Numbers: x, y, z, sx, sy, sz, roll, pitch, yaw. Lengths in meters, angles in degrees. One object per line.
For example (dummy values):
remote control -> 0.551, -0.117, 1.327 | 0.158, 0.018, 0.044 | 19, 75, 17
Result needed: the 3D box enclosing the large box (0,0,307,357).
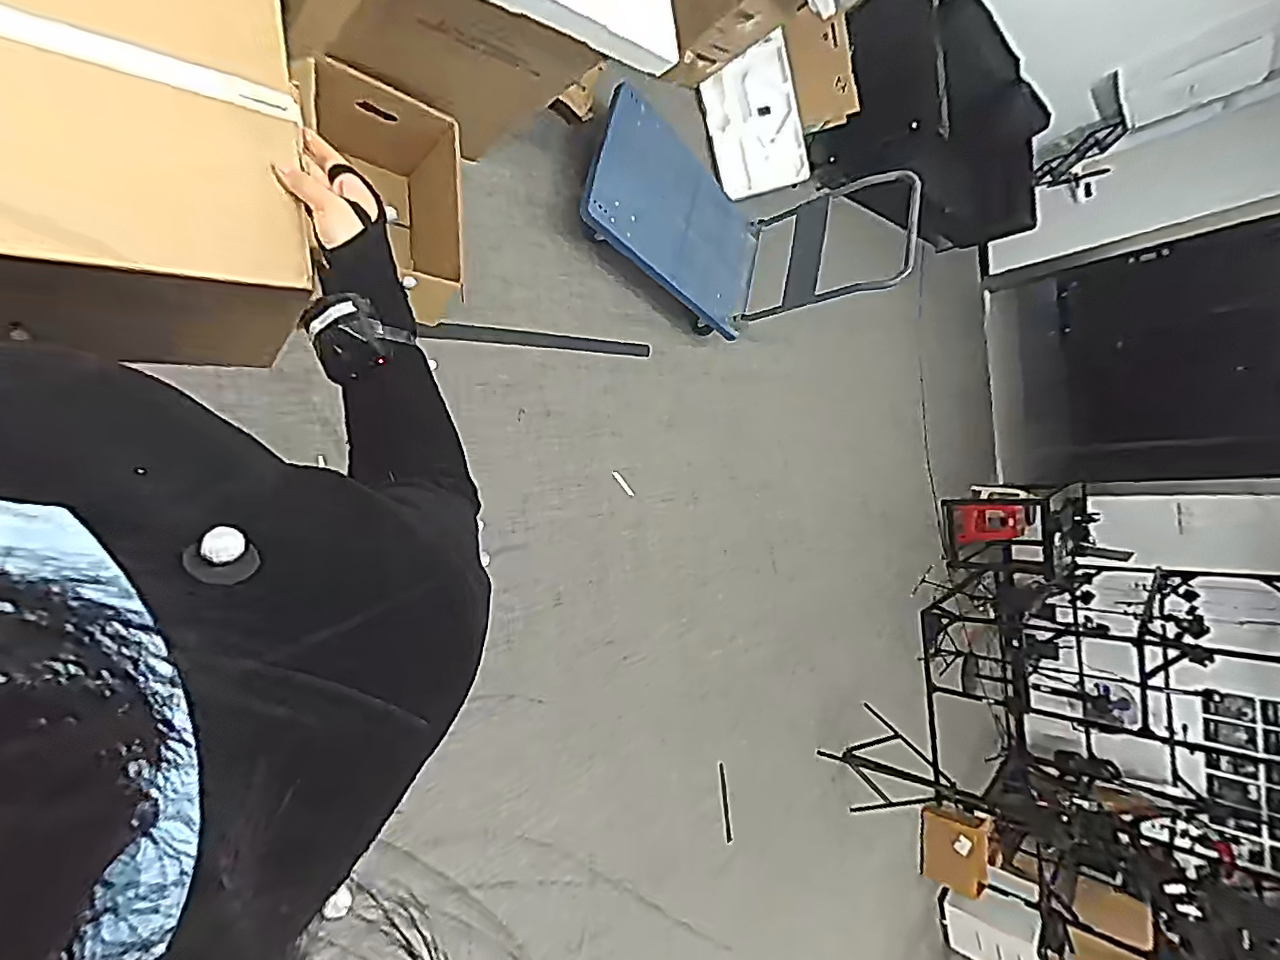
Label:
large box -> -0.564, -0.298, 0.471 | 0.408, 0.320, 0.320 | -8, 90, -41
